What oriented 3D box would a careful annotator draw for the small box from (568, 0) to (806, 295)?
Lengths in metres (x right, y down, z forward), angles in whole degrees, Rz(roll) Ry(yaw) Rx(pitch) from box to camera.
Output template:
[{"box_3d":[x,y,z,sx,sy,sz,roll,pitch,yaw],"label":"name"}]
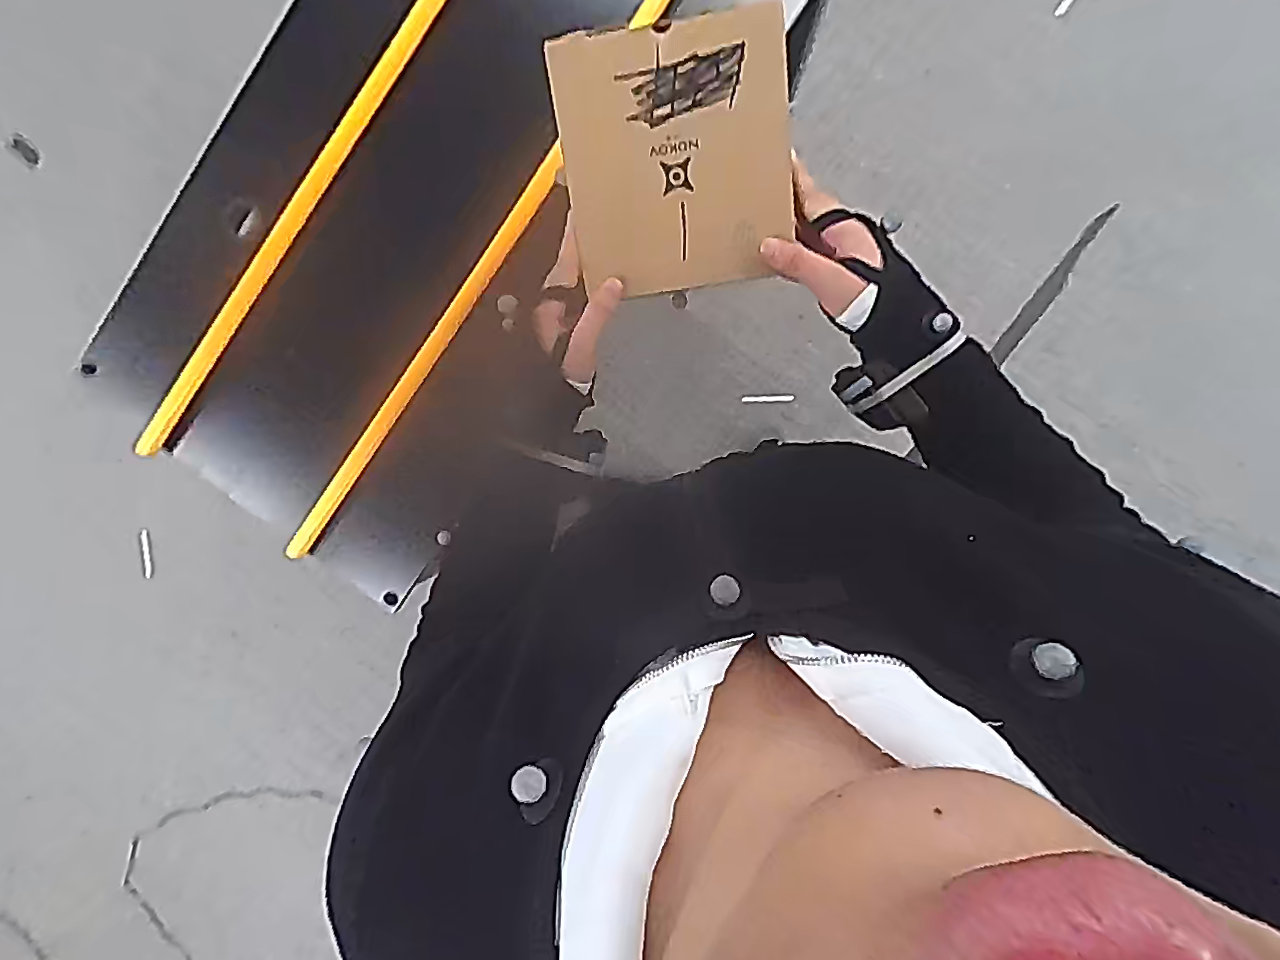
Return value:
[{"box_3d":[0.040,-0.263,0.473,0.168,0.176,0.179,-6,109,4],"label":"small box"}]
